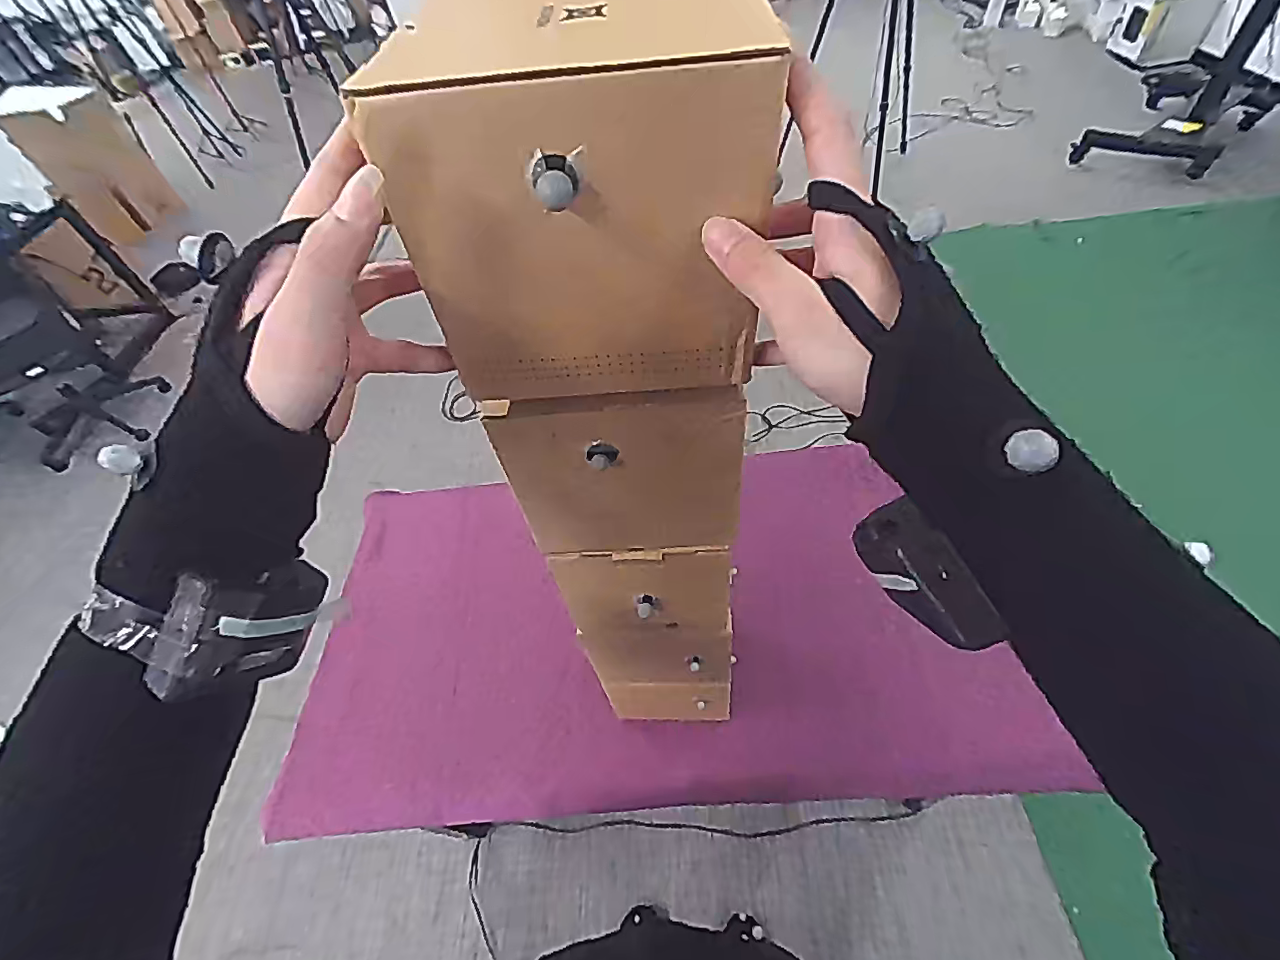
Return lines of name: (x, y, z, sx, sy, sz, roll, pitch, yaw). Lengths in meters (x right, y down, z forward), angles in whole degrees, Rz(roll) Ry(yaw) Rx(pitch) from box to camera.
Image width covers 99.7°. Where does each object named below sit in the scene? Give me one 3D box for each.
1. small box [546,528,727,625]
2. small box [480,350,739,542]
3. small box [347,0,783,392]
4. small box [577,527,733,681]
small box: (0.009, 0.047, 0.588, 0.168, 0.176, 0.179, -2, 51, 7)
small box: (-0.011, -0.059, 0.462, 0.179, 0.176, 0.168, -3, 50, 5)
small box: (-0.025, -0.170, 0.321, 0.179, 0.176, 0.168, -3, 52, 4)
small box: (0.028, 0.154, 0.709, 0.179, 0.176, 0.168, -2, 51, 7)
